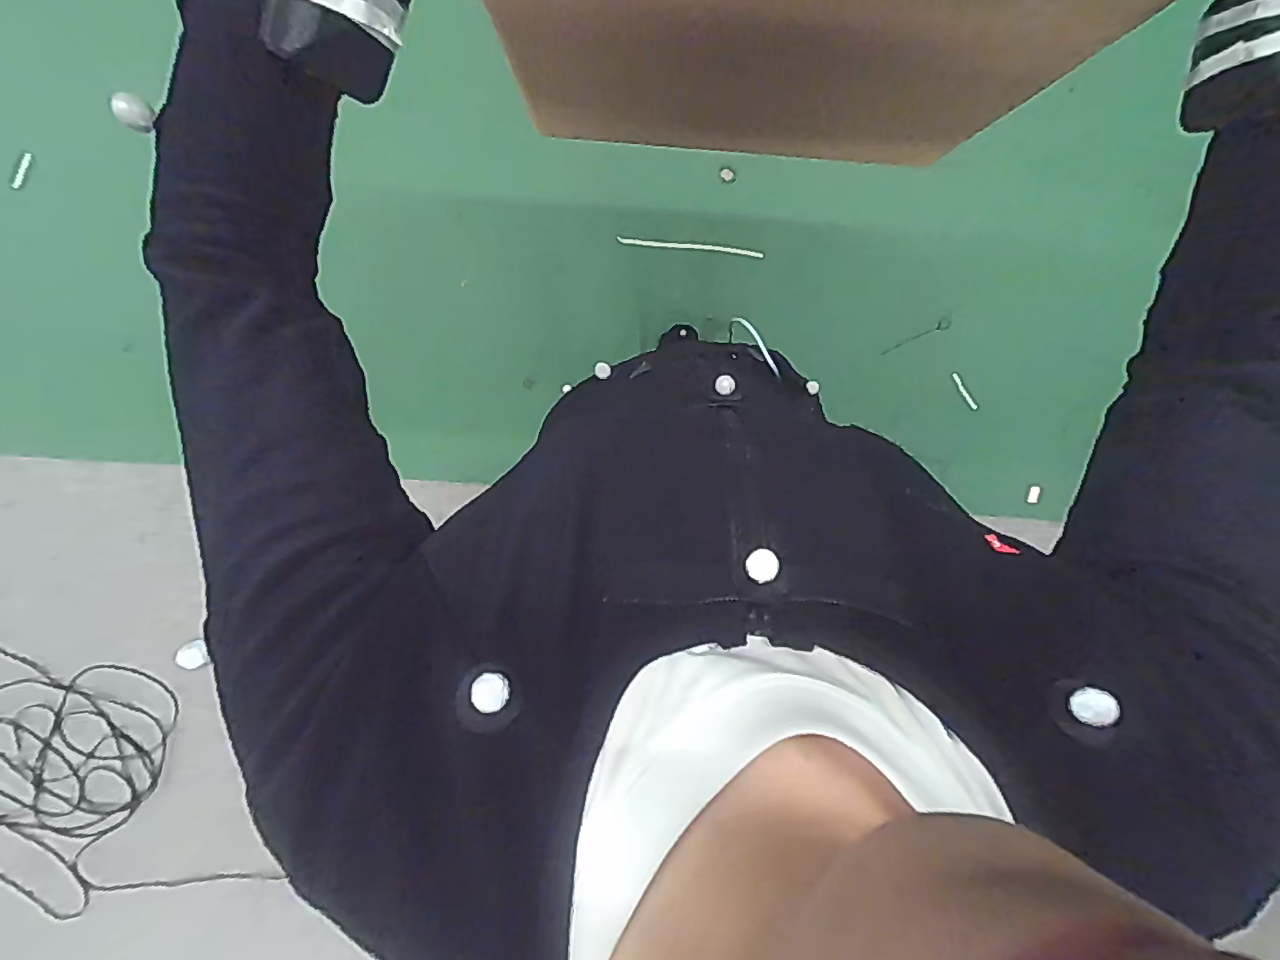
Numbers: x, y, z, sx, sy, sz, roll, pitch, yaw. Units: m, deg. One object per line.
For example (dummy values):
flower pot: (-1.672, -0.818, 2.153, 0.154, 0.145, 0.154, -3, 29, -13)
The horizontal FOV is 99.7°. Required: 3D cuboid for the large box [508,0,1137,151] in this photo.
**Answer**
large box: (0.112, -0.462, 0.377, 0.408, 0.320, 0.320, 3, 103, -2)
